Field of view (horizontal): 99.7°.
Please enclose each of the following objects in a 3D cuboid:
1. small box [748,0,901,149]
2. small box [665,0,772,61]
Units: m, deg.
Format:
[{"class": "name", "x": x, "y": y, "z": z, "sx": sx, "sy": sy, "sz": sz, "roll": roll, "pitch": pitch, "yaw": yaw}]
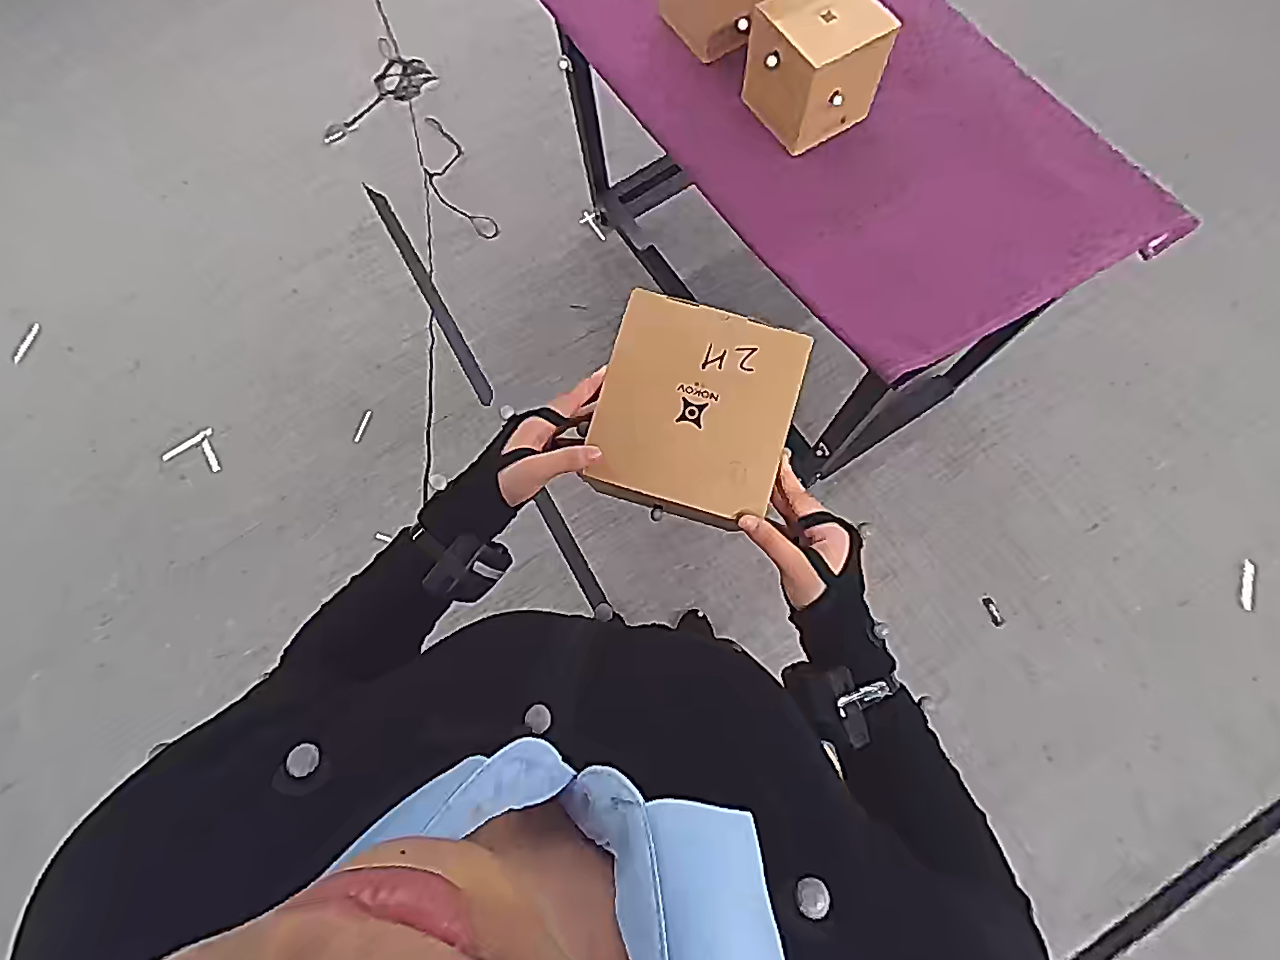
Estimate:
[{"class": "small box", "x": 0.310, "y": -0.724, "z": 0.949, "sx": 0.168, "sy": 0.176, "sz": 0.179, "roll": -30, "pitch": 74, "yaw": -5}, {"class": "small box", "x": 0.155, "y": -0.952, "z": 1.022, "sx": 0.168, "sy": 0.176, "sz": 0.179, "roll": -31, "pitch": 76, "yaw": -5}]
